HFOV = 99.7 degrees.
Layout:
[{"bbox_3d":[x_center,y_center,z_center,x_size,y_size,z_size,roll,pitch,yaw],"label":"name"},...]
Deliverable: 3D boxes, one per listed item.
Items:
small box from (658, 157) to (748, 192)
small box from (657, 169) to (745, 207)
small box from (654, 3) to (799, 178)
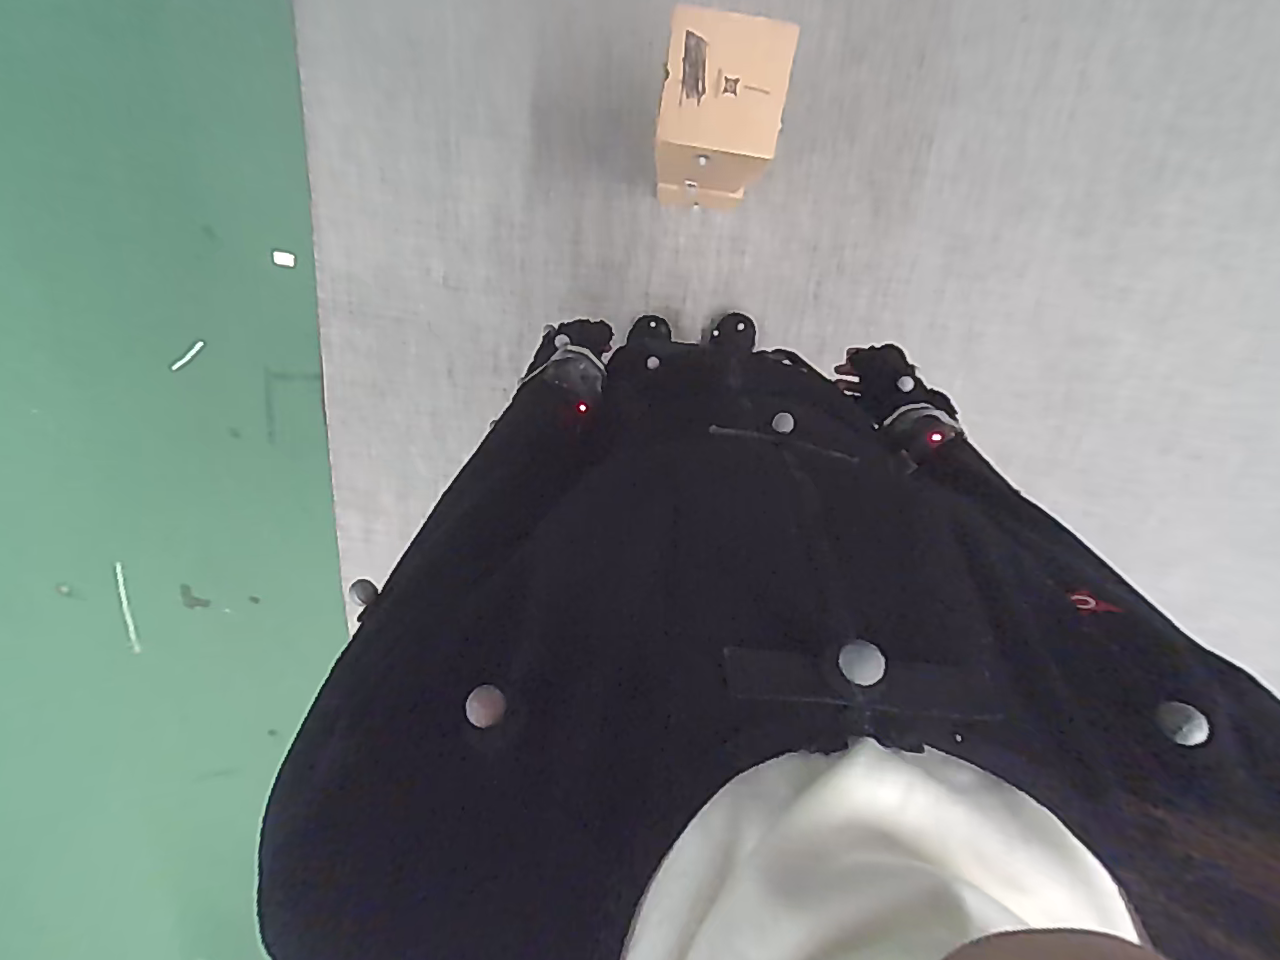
[{"bbox_3d":[0.125,-0.646,0.988,0.168,0.176,0.179,8,110,1],"label":"small box"},{"bbox_3d":[0.134,-0.687,1.145,0.179,0.176,0.168,8,109,-2],"label":"small box"},{"bbox_3d":[0.122,-0.583,0.835,0.179,0.176,0.168,9,109,-1],"label":"small box"}]
